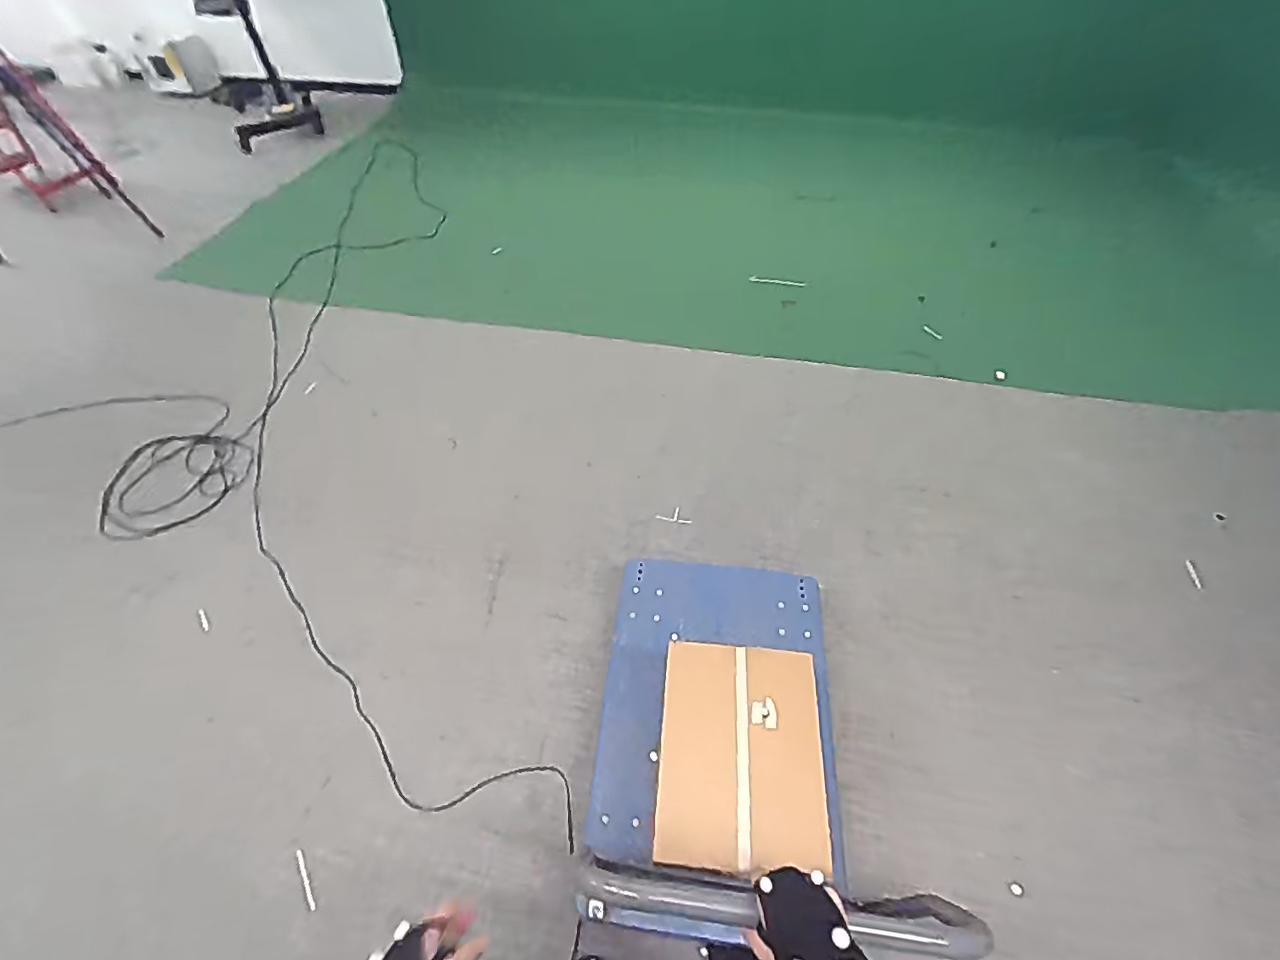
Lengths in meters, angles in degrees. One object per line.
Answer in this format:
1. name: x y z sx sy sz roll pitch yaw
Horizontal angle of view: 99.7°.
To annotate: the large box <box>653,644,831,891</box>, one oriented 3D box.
1. large box: 0.195 0.619 1.167 0.320 0.320 0.408 5 51 3
